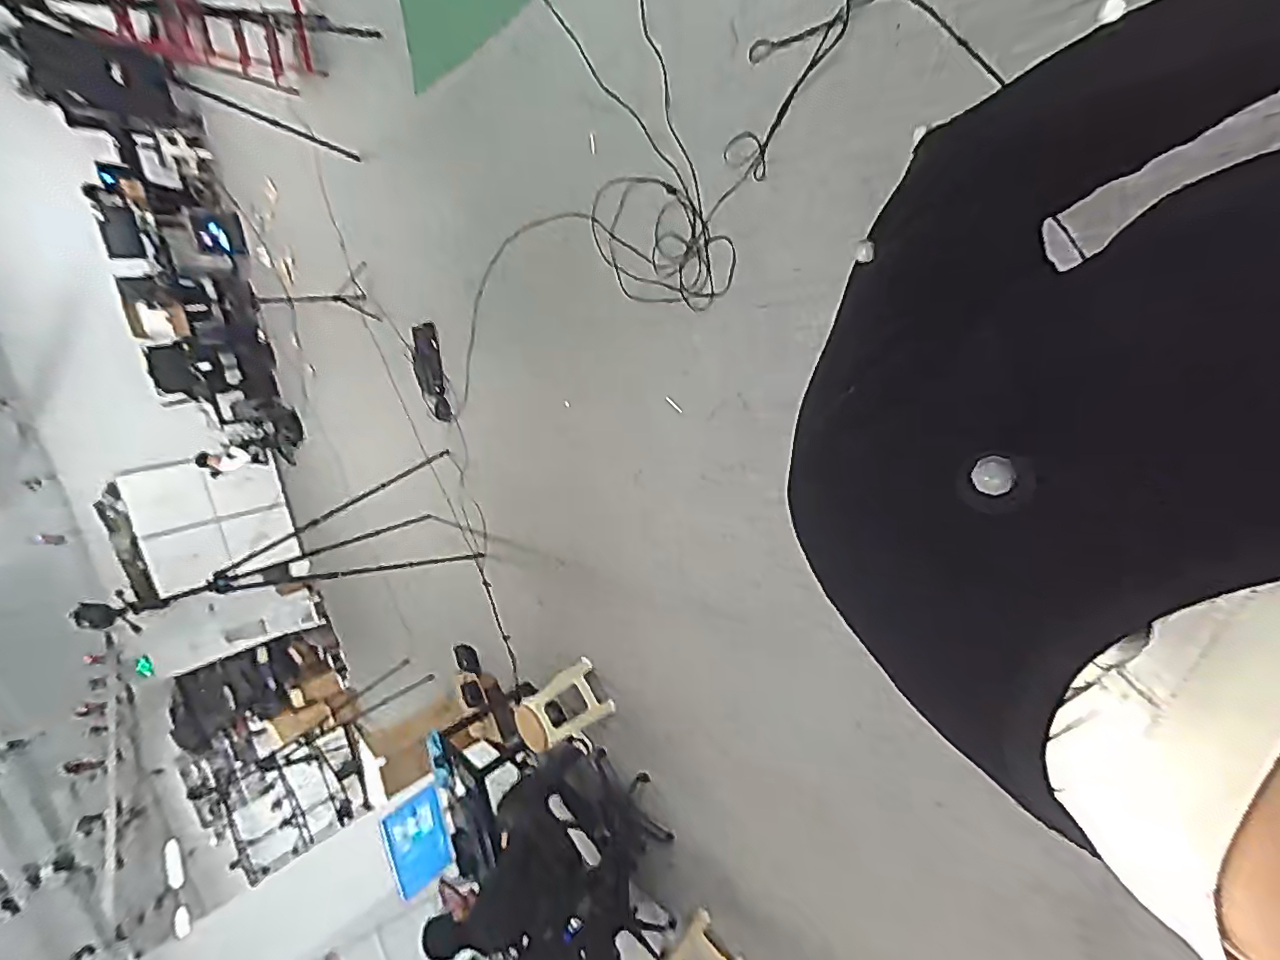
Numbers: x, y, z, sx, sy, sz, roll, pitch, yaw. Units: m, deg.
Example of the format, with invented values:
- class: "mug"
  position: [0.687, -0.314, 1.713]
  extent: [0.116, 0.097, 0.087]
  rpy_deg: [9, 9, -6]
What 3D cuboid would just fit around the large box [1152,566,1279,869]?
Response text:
- class: "large box"
  position: [1.151, 0.417, 0.948]
  extent: [0.320, 0.320, 0.408]
  rpy_deg: [13, 115, 43]
